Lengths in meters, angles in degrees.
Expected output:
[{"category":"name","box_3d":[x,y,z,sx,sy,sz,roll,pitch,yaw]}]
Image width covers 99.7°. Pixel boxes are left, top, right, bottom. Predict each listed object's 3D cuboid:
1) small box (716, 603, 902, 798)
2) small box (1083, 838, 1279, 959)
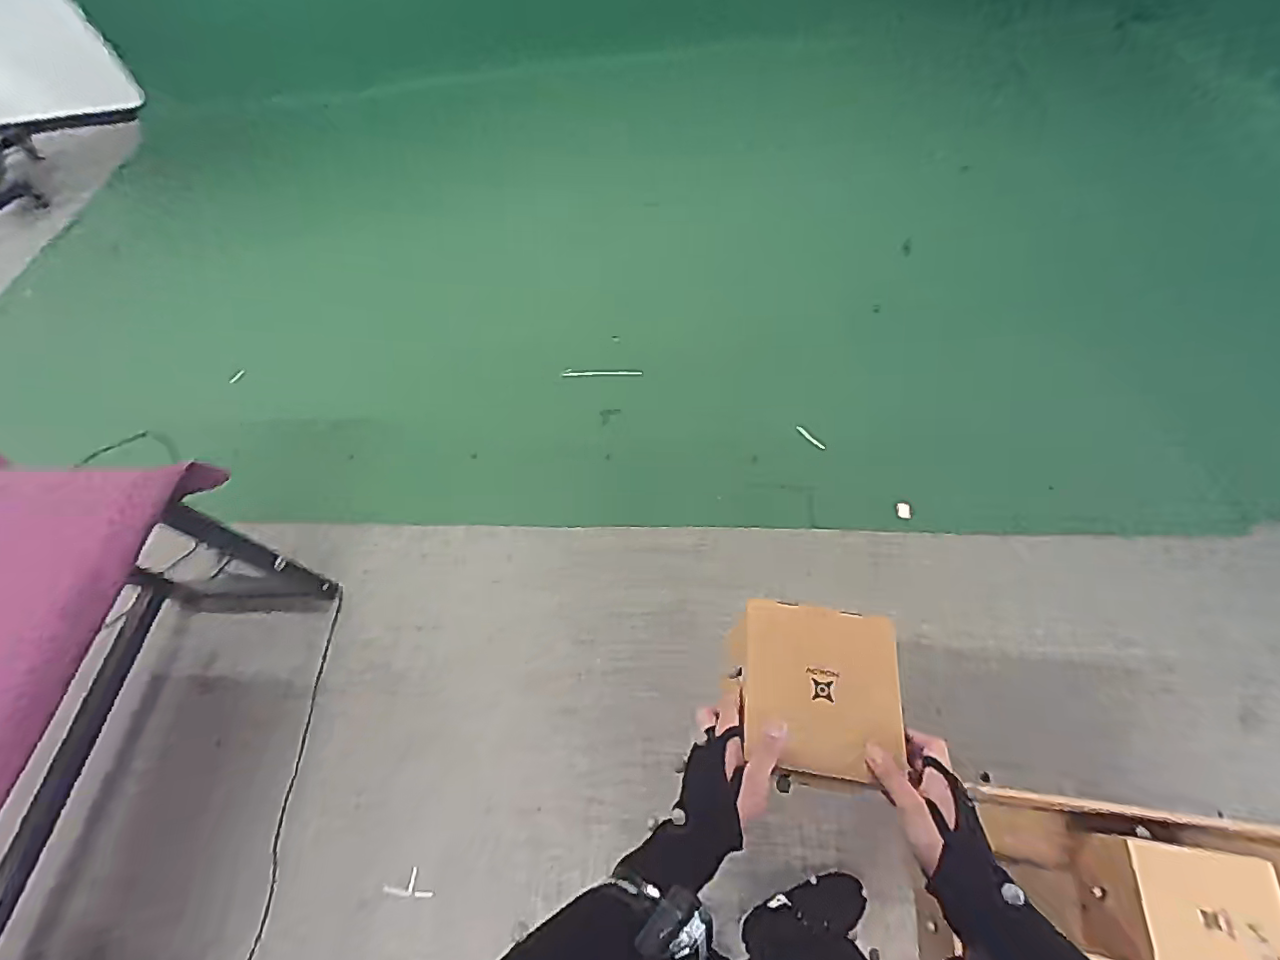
[{"category":"small box","box_3d":[0.183,0.264,0.635,0.168,0.176,0.179,7,58,3]},{"category":"small box","box_3d":[0.778,0.626,0.771,0.179,0.176,0.168,4,62,12]}]
